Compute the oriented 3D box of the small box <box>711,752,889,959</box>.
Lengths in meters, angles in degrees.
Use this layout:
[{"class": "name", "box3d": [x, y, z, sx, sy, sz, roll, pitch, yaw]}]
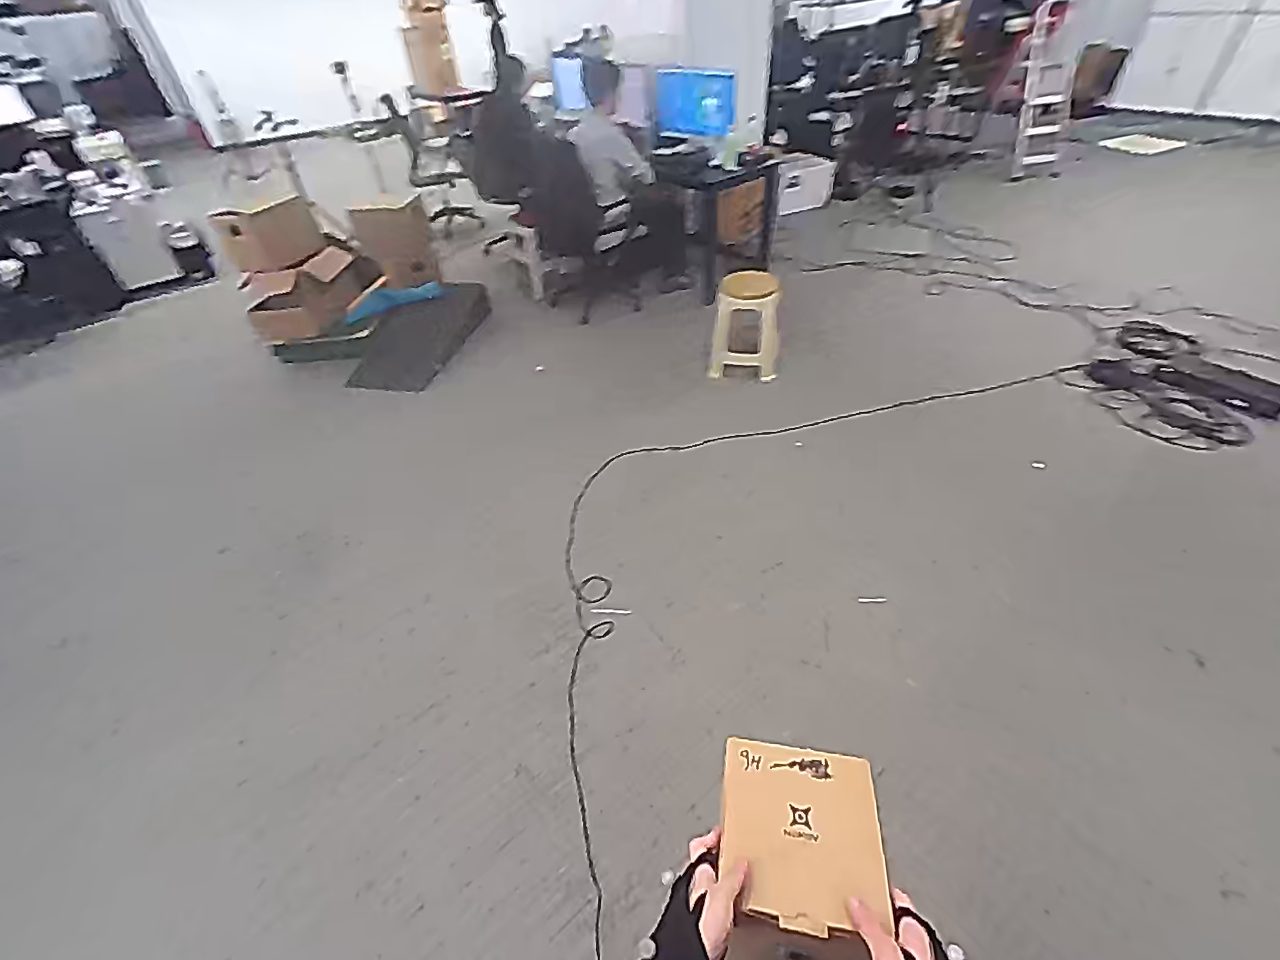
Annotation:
[{"class": "small box", "box3d": [0.171, 0.453, 0.631, 0.168, 0.176, 0.179, 3, 35, 7]}]
